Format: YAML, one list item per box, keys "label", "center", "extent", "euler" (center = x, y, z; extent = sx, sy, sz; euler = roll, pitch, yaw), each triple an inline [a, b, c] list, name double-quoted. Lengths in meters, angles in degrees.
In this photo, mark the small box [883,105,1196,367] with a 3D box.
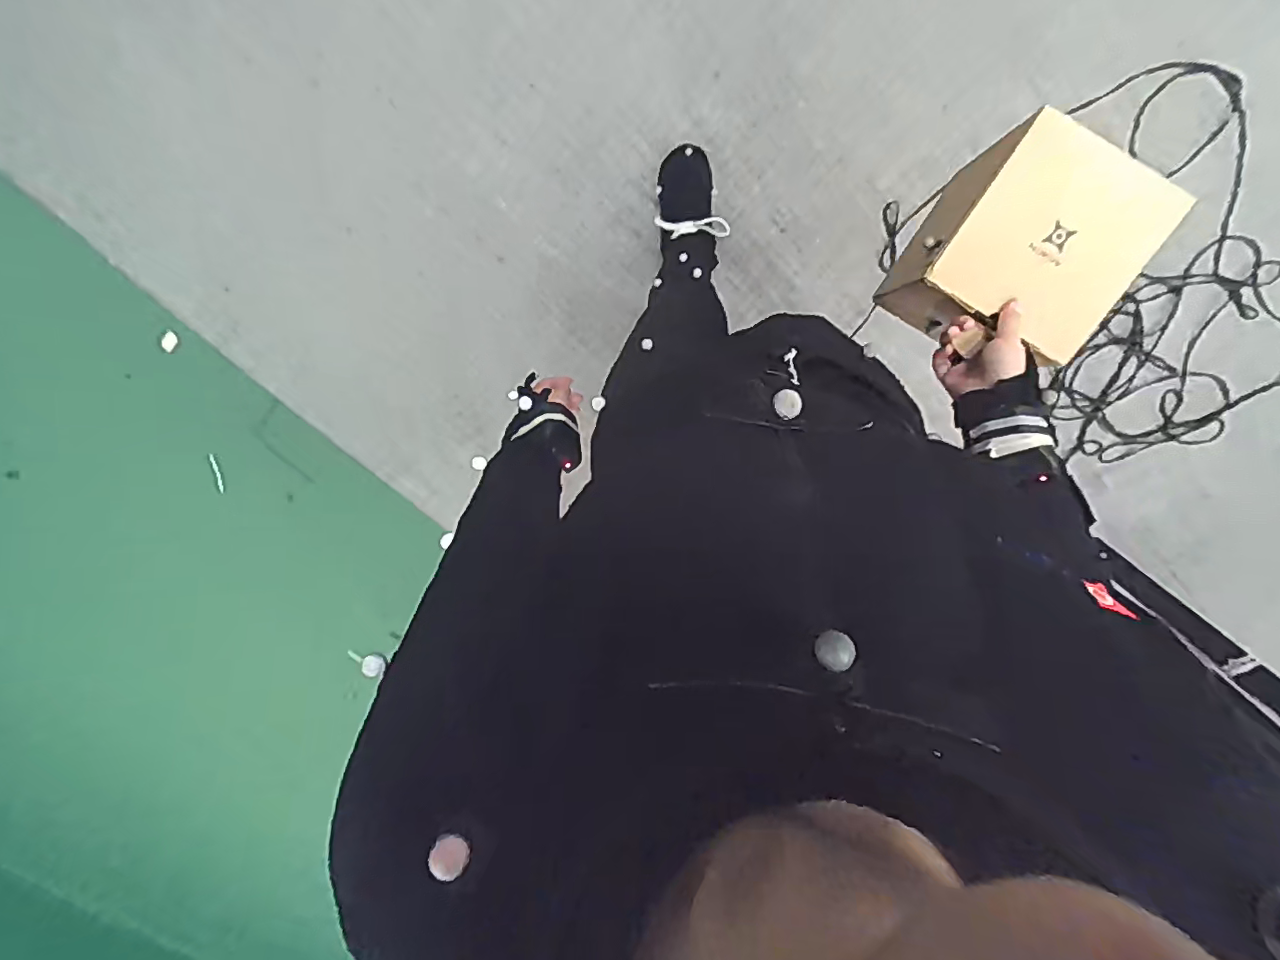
- label: "small box"
  center: [0.396, -0.239, 0.579]
  extent: [0.168, 0.176, 0.179]
  euler: [32, 103, -1]
